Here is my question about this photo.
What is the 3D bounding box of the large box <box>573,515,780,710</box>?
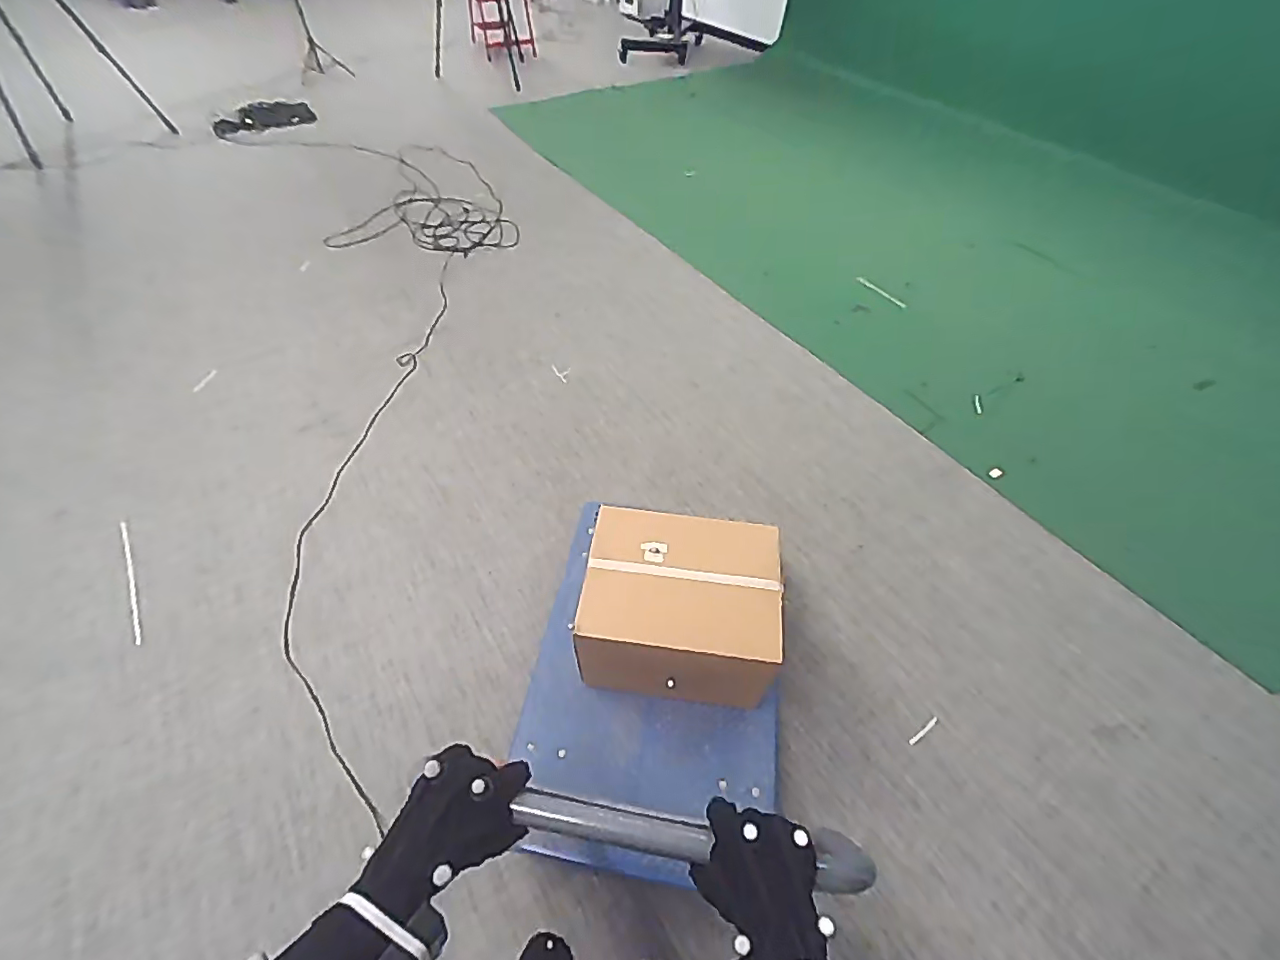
[{"bbox_3d":[0.084,0.308,1.238,0.408,0.320,0.320,6,50,4],"label":"large box"}]
